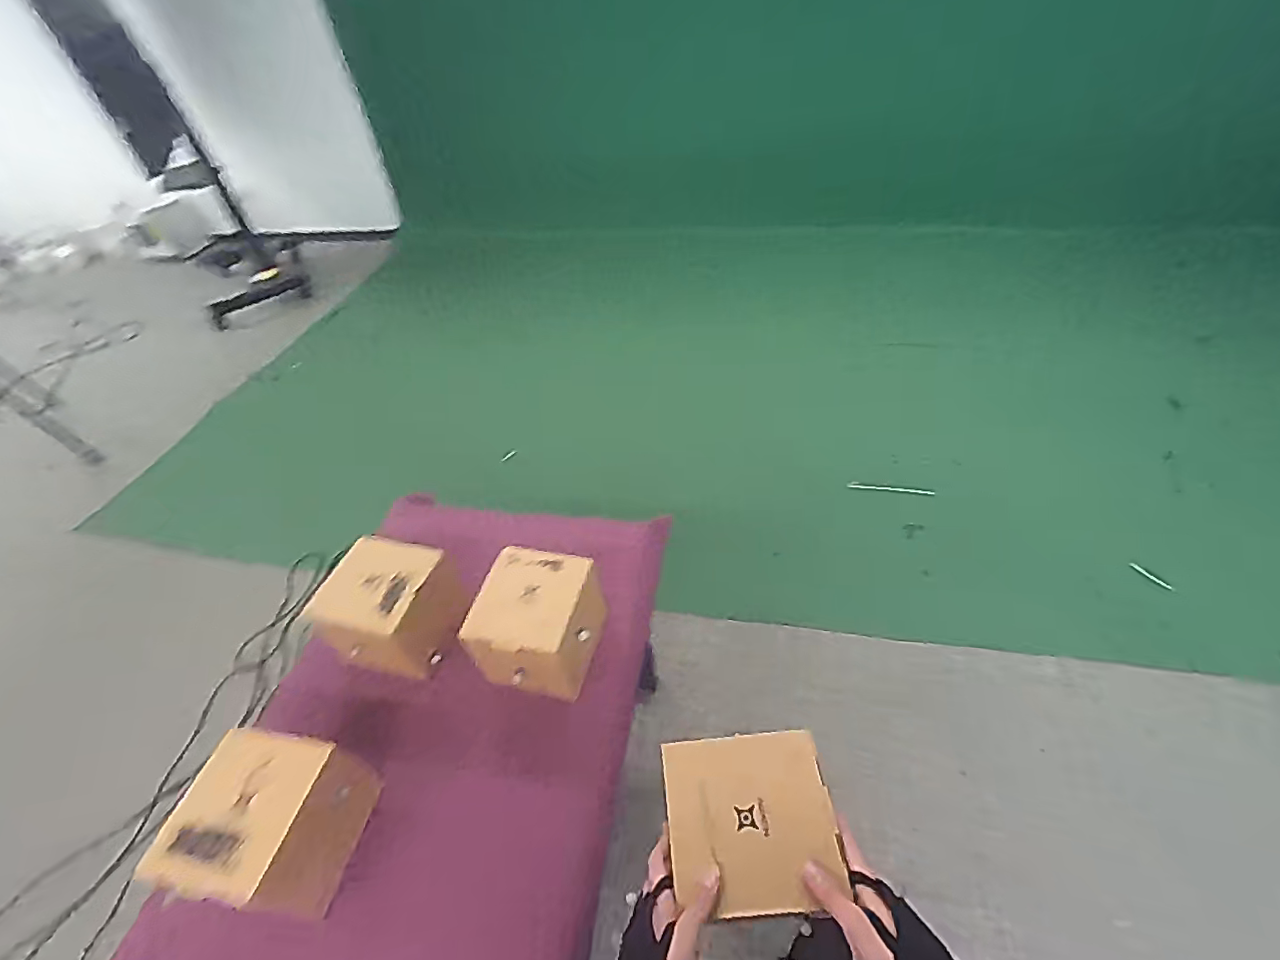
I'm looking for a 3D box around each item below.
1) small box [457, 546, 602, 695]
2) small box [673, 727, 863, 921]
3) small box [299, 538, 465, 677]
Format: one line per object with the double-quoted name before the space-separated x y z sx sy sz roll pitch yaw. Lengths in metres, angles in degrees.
"small box" -0.172 0.240 0.914 0.168 0.176 0.179 6 48 14
"small box" 0.133 0.402 0.629 0.179 0.176 0.168 -6 48 4
"small box" -0.440 0.228 0.959 0.179 0.176 0.168 8 47 14
